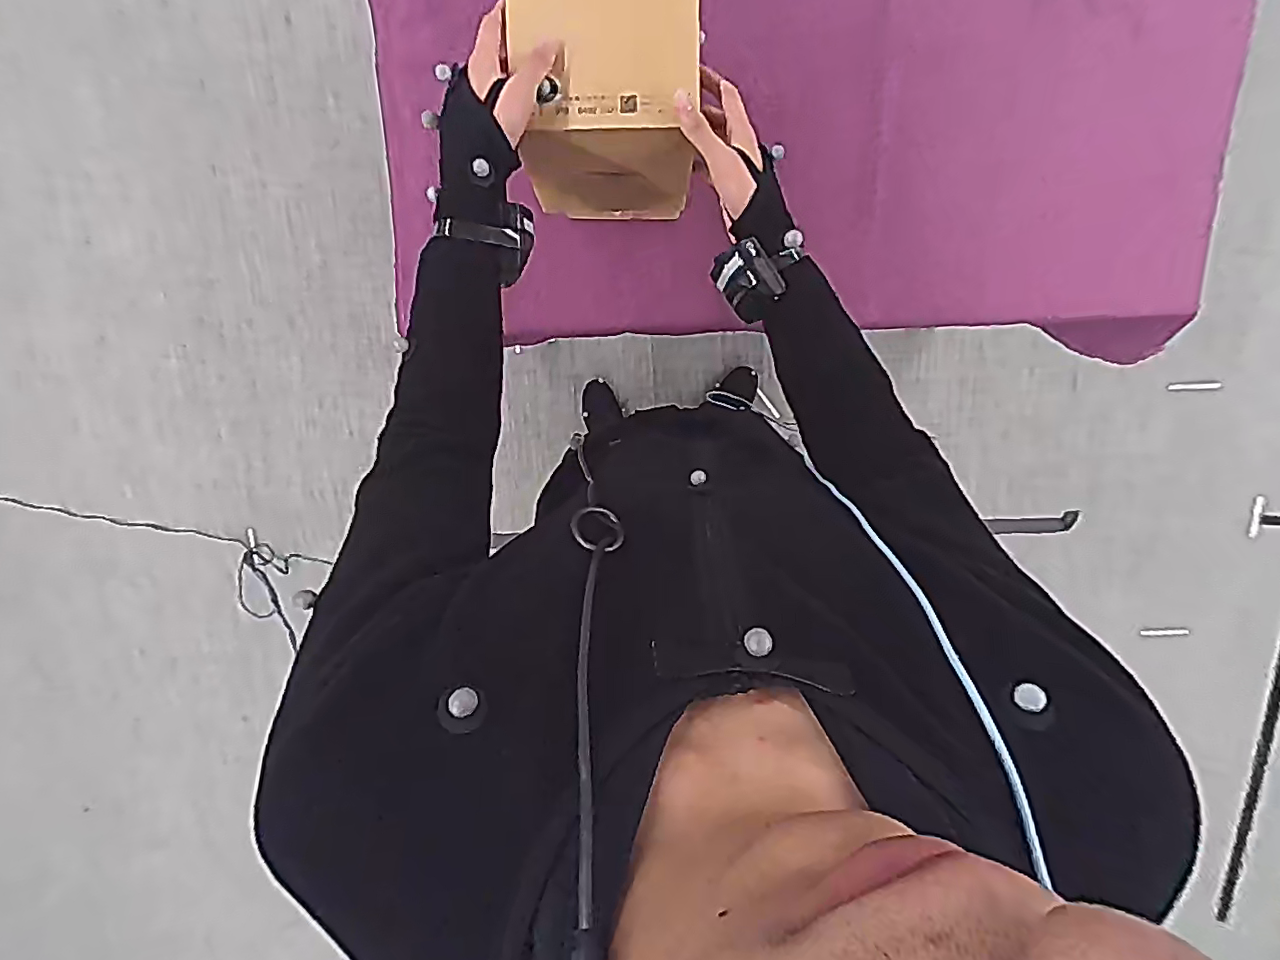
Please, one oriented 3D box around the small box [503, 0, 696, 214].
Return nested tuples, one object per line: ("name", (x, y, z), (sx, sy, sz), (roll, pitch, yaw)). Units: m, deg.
("small box", (-0.034, -0.387, 0.539), (0.168, 0.179, 0.176), (-1, 94, -1))
